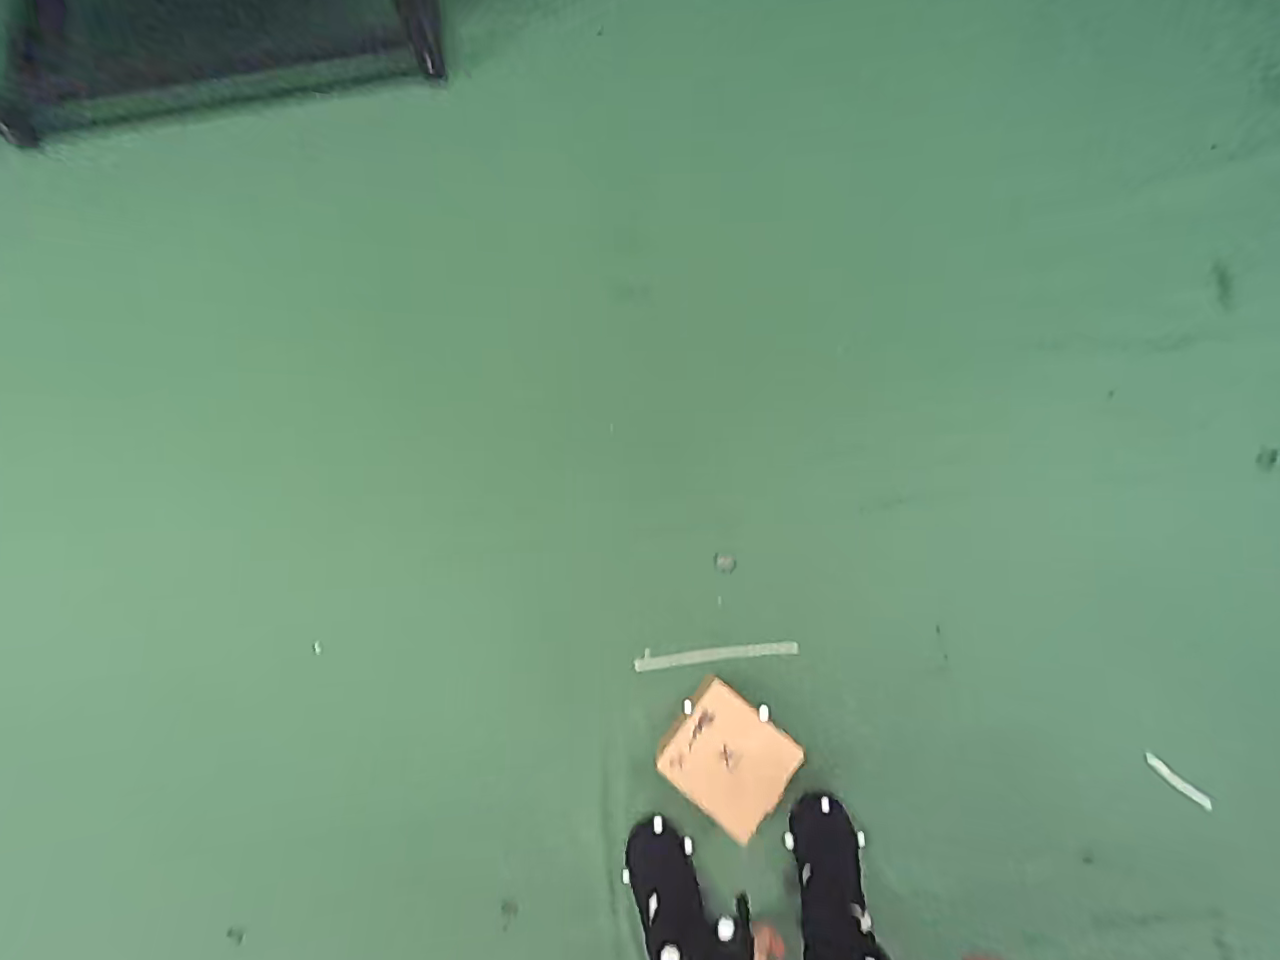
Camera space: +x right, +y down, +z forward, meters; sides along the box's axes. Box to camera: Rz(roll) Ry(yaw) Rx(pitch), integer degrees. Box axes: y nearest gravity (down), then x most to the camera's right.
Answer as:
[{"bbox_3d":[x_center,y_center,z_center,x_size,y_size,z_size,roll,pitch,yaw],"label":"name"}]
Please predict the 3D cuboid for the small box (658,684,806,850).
[{"bbox_3d":[0.148,0.469,0.922,0.179,0.176,0.168,37,79,13],"label":"small box"}]
